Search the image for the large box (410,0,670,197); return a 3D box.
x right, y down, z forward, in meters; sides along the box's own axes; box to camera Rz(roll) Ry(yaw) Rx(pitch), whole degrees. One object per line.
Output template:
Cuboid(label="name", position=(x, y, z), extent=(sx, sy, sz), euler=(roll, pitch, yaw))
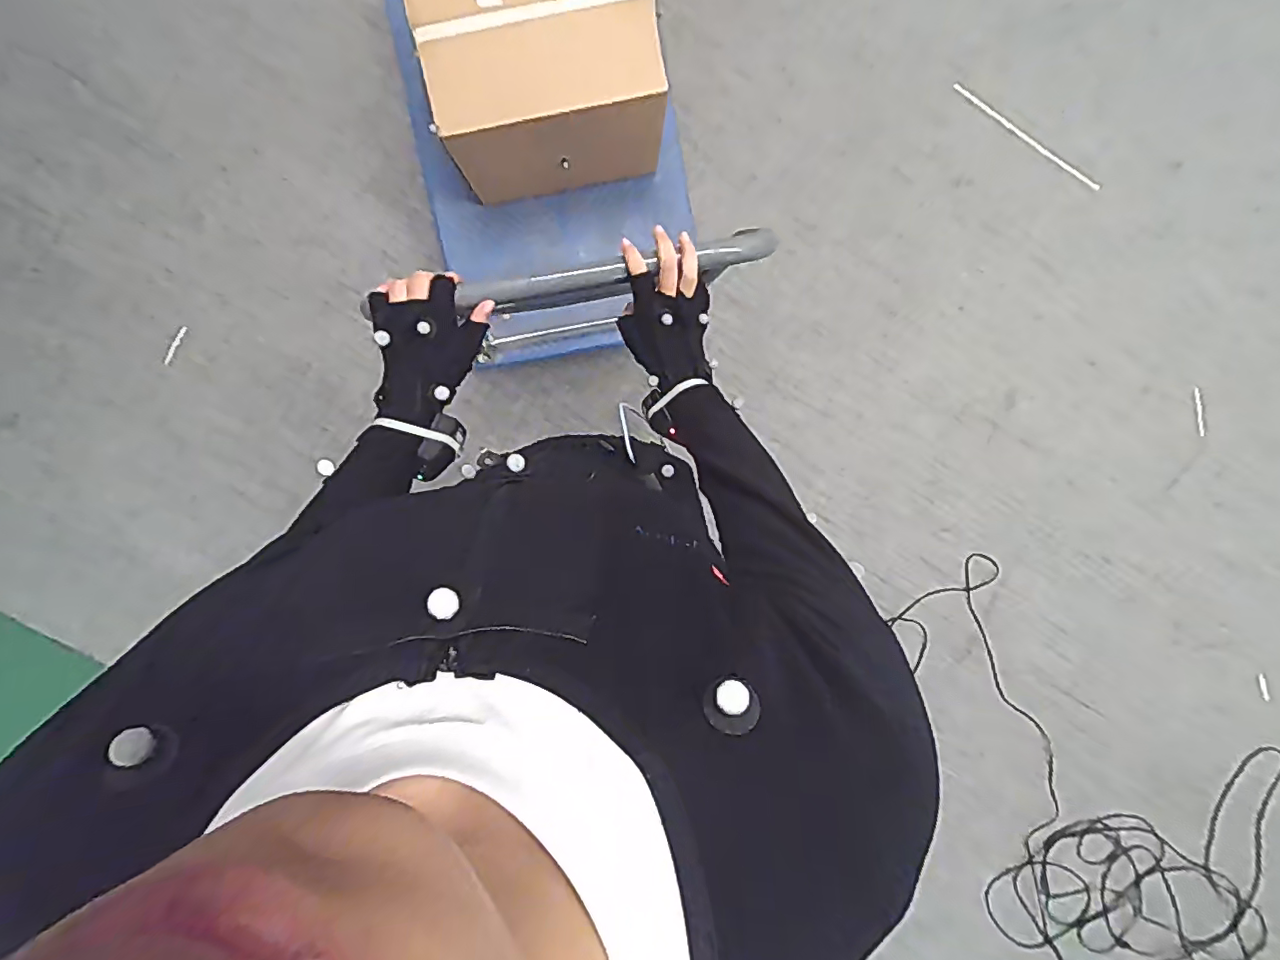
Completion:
Cuboid(label="large box", position=(-0.178, -0.800, 1.050), extent=(0.408, 0.320, 0.320), euler=(-12, 98, 0))
